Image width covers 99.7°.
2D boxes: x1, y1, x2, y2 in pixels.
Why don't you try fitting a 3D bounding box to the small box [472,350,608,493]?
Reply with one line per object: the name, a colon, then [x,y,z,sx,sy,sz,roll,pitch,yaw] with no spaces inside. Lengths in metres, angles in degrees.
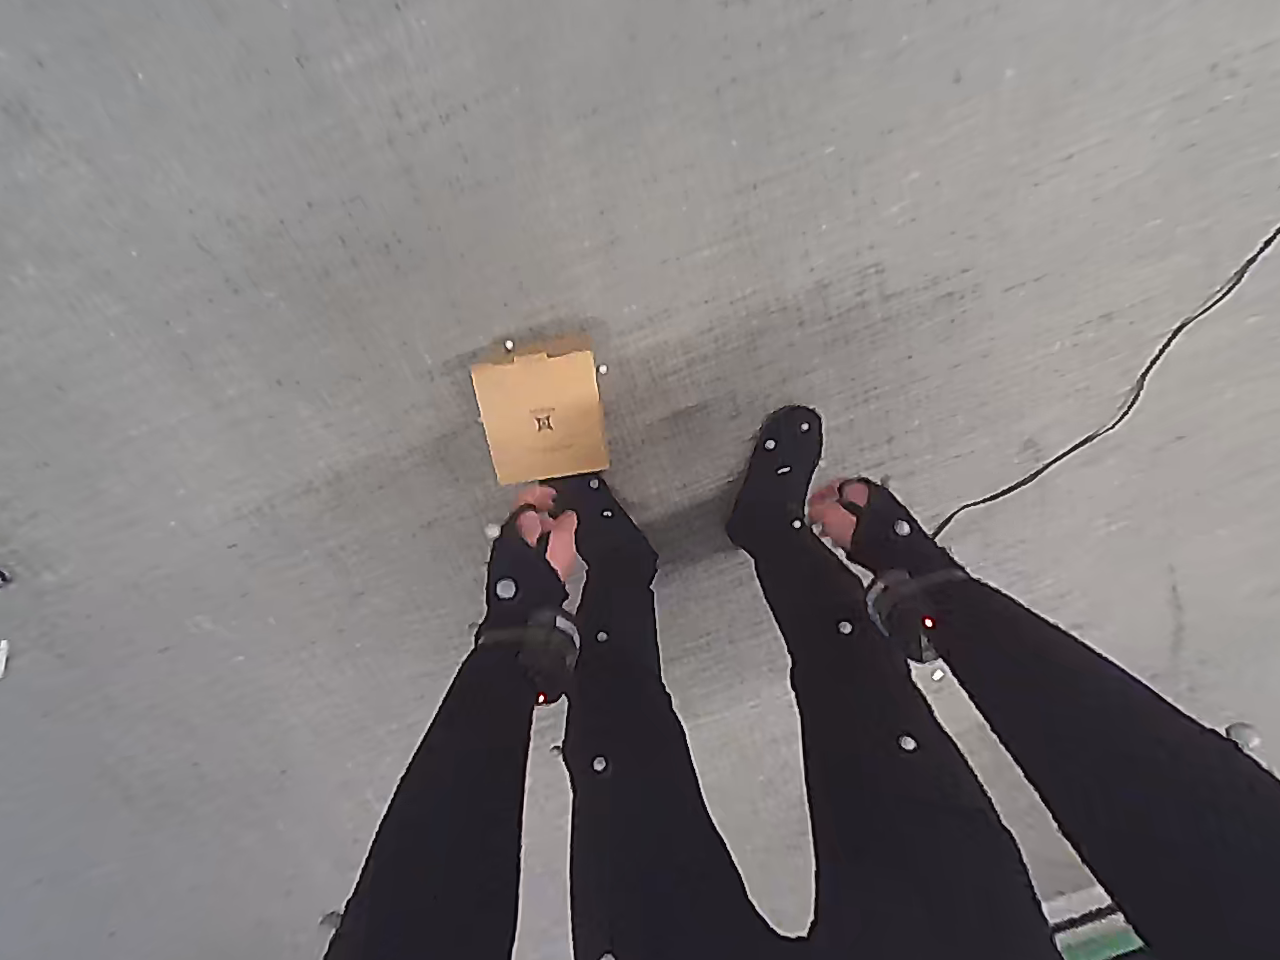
small box: [-0.143,-0.098,0.821,0.168,0.176,0.179,-8,110,-3]
